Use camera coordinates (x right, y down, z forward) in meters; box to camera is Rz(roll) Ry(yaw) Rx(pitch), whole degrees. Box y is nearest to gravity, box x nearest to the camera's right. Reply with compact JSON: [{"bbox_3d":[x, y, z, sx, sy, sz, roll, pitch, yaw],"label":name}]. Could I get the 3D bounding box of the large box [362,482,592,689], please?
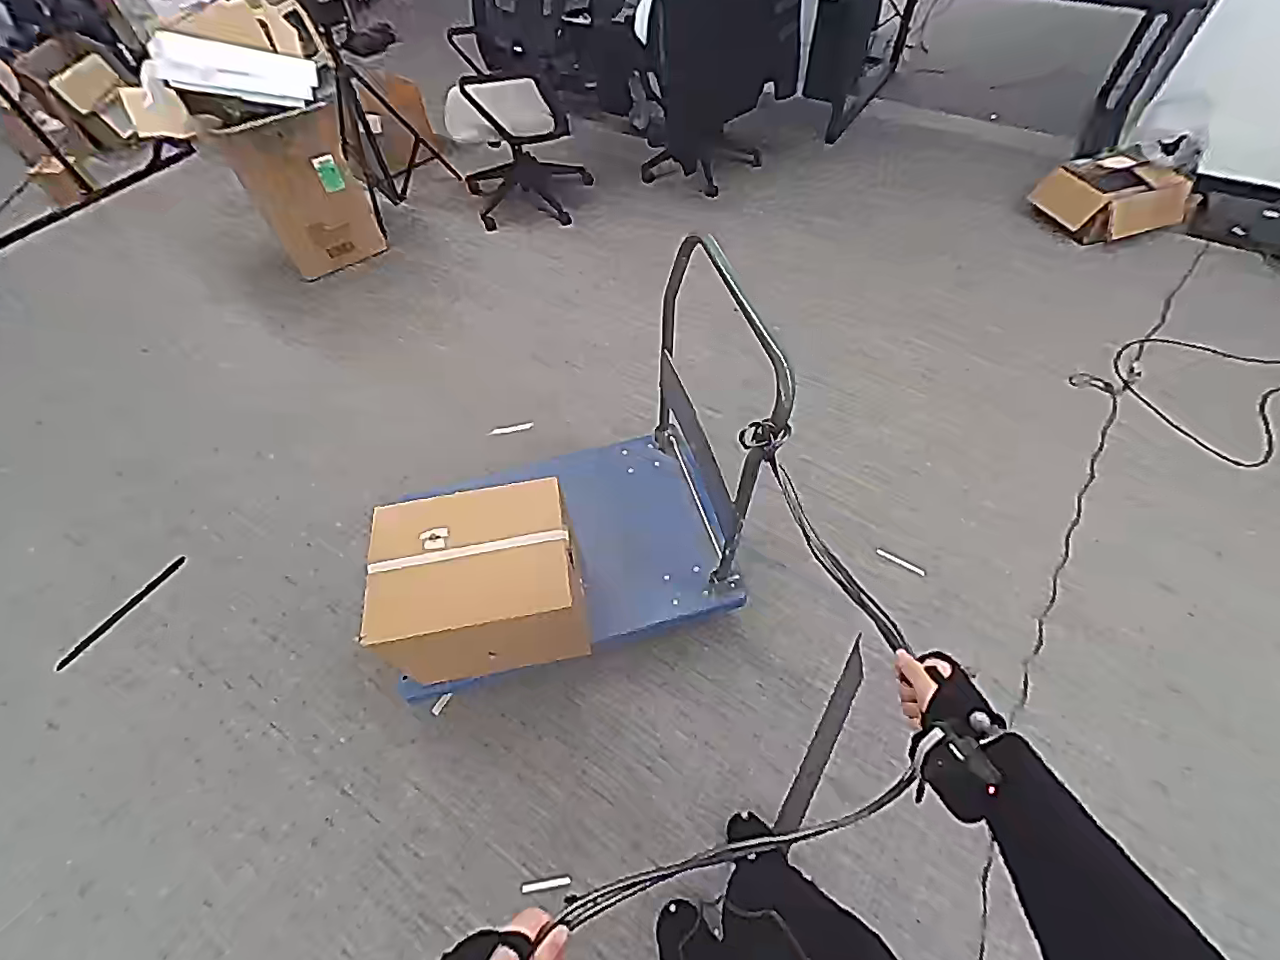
[{"bbox_3d":[-0.343,0.246,1.222,0.408,0.320,0.320,-11,55,-3],"label":"large box"}]
